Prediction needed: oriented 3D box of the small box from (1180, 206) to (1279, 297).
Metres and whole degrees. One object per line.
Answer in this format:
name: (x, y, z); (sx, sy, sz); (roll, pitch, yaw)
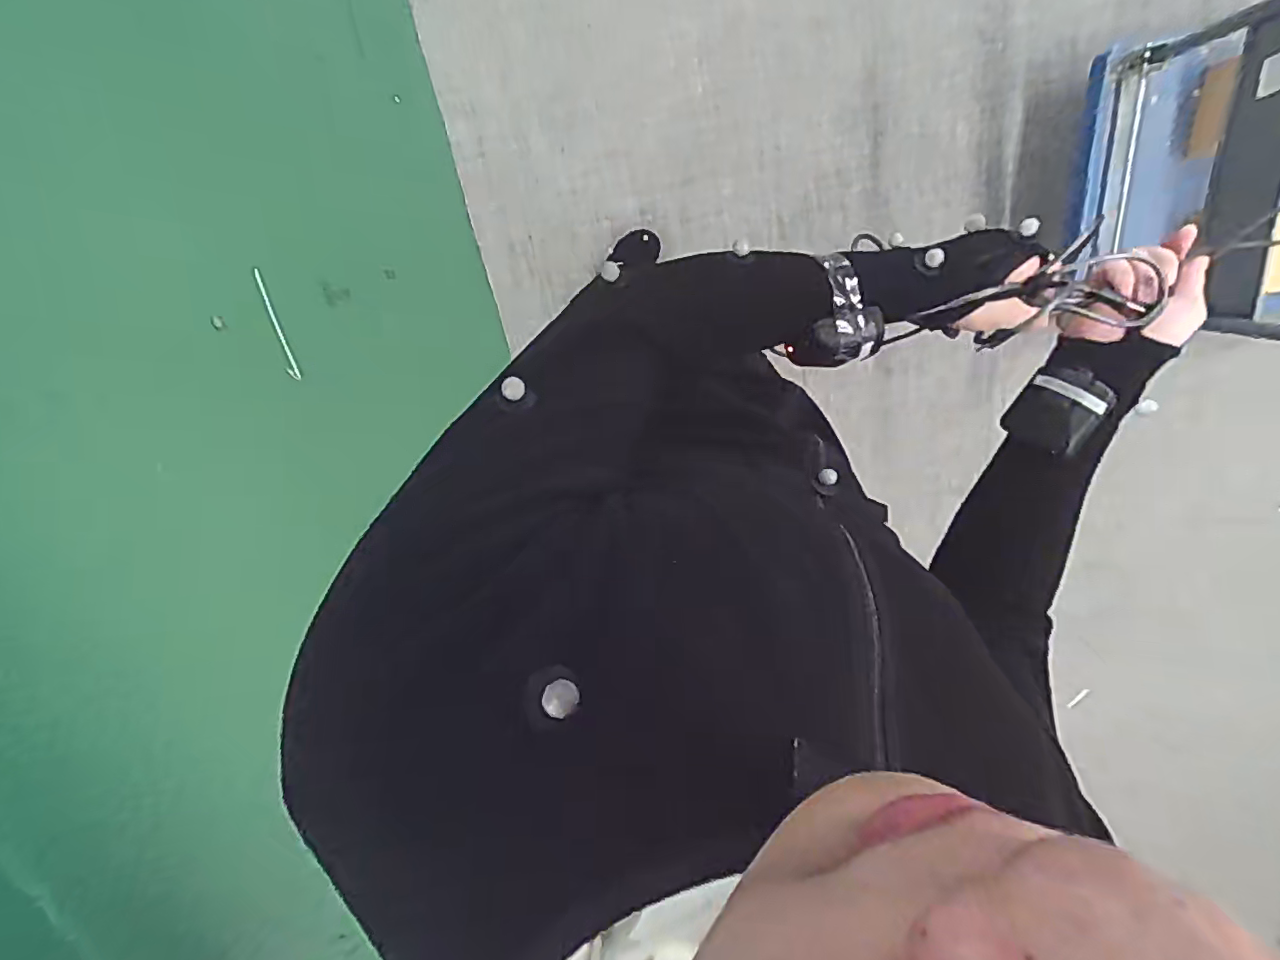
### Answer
small box: (1.297, -0.475, 1.117); (0.179, 0.176, 0.168); (-3, 111, 7)
